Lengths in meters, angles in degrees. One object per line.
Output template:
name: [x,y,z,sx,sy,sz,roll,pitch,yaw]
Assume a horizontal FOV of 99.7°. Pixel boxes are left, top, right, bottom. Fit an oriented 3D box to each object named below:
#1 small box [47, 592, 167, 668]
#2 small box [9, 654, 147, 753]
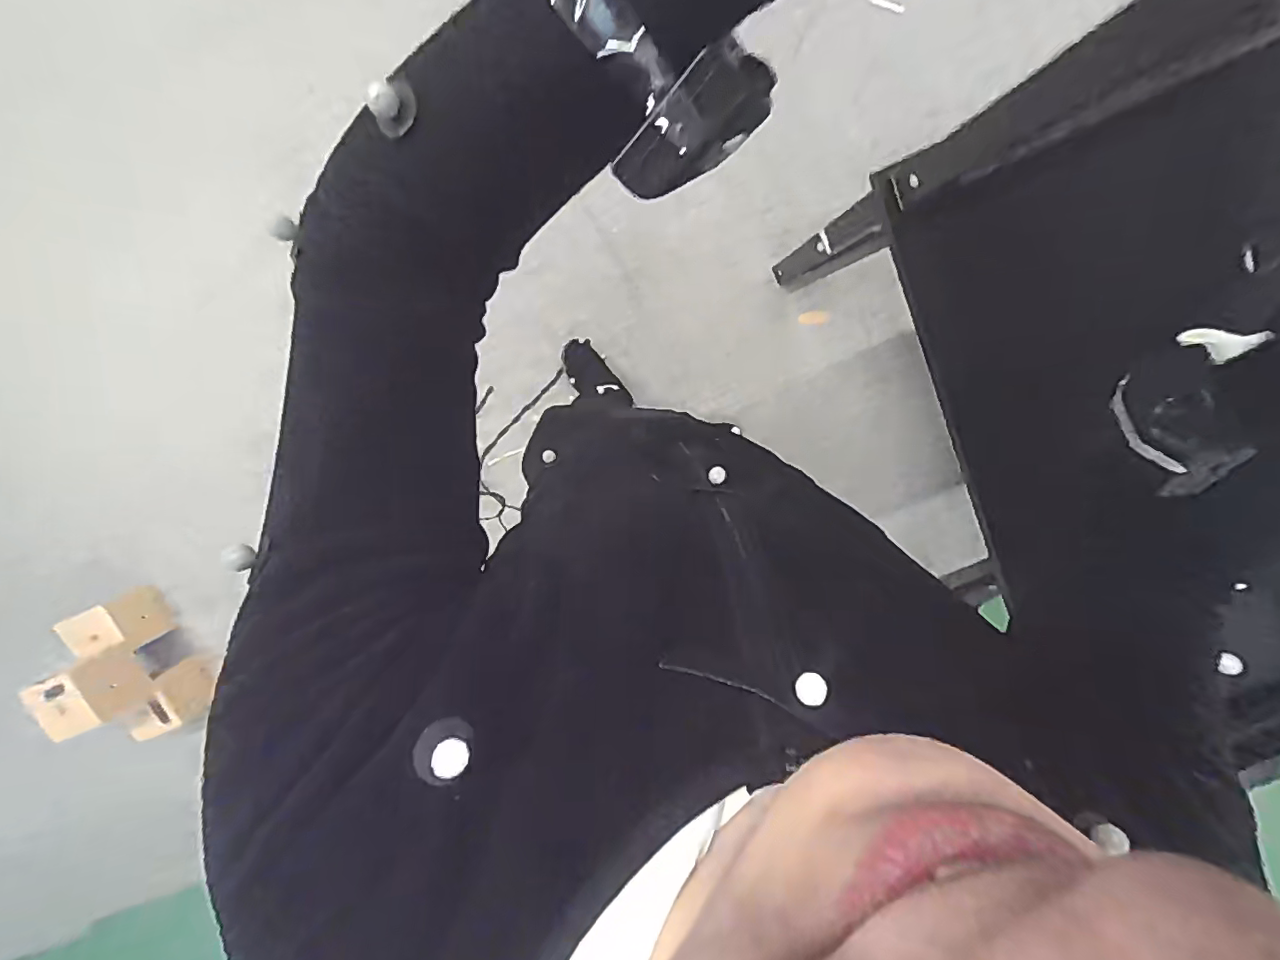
small box: [-1.607,0.466,1.649,0.179,0.176,0.168,-22,101,5]
small box: [-1.557,0.613,1.511,0.168,0.176,0.179,-21,101,5]
